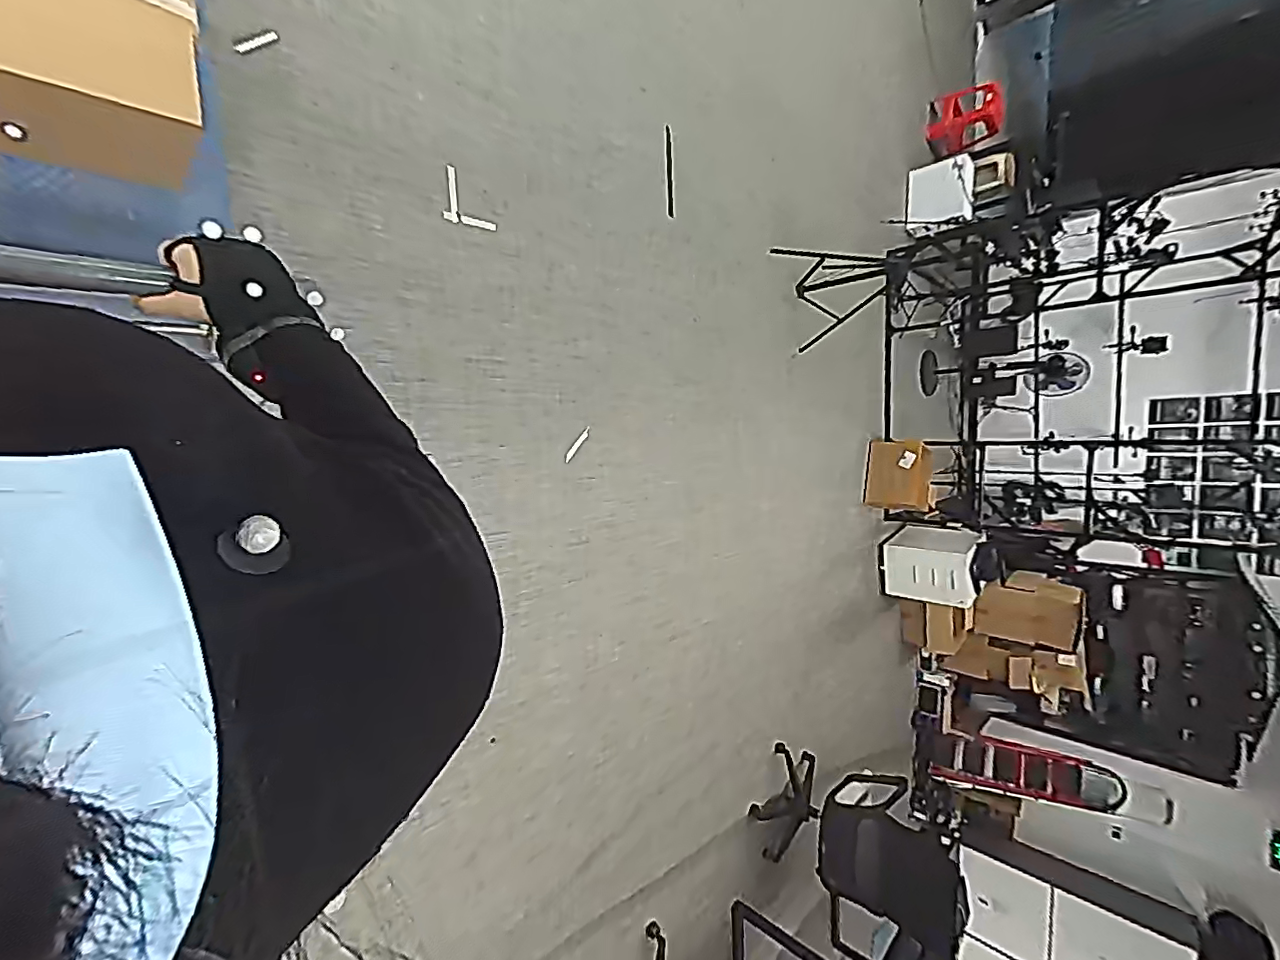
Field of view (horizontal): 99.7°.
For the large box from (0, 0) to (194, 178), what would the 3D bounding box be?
[{"bbox_3d":[-0.923,-0.684,0.765,0.408,0.320,0.320,-8,98,-45],"label":"large box"}]
